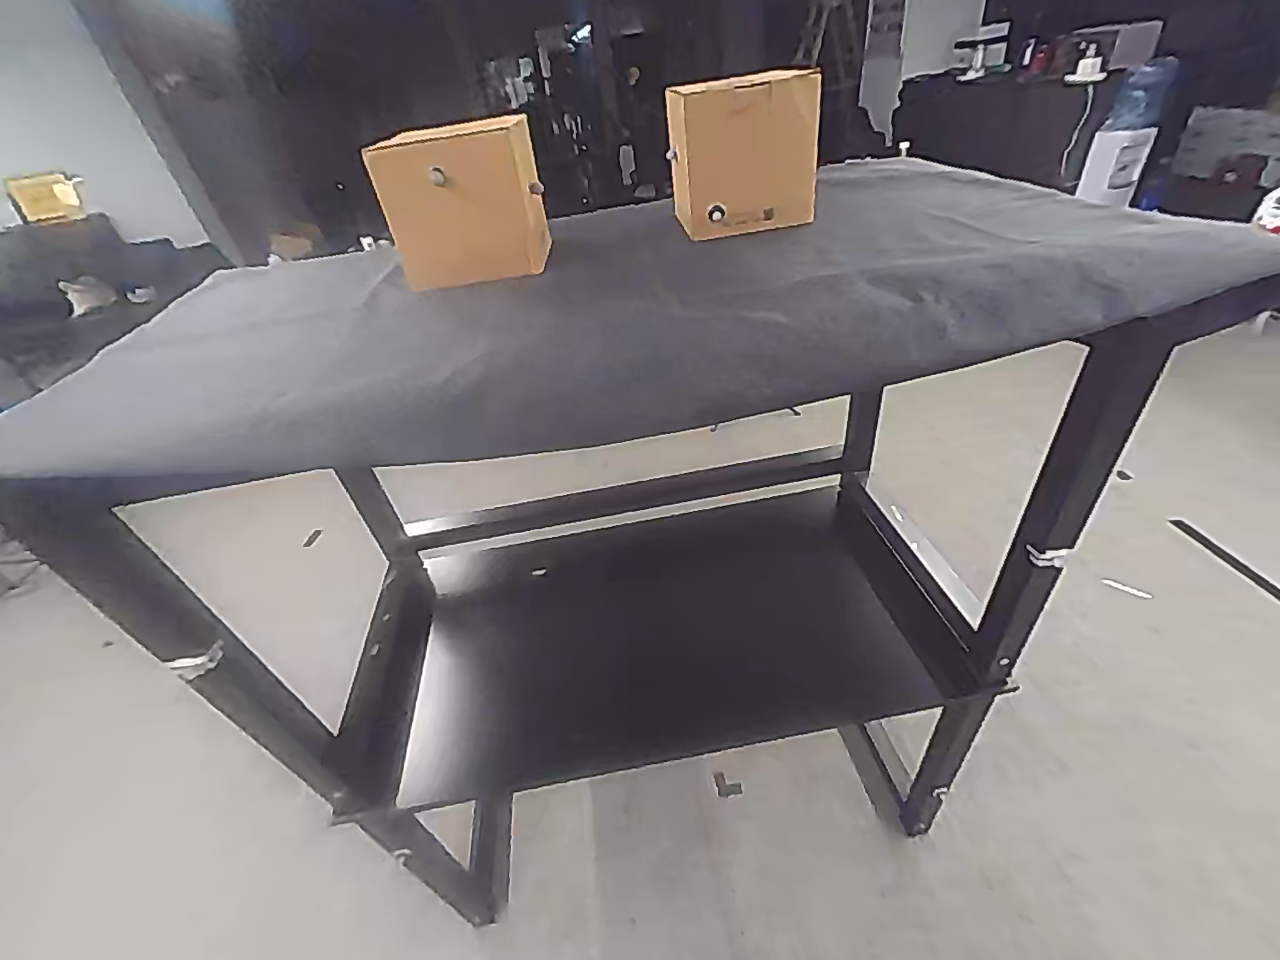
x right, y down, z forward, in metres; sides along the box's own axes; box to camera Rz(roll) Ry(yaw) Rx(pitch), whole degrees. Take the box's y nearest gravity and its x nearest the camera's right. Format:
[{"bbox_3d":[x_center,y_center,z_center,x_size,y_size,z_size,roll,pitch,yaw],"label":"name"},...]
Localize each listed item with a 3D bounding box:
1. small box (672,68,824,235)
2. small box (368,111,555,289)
[{"bbox_3d":[0.141,-0.448,0.744,0.168,0.176,0.179,-8,37,1],"label":"small box"},{"bbox_3d":[-0.217,-0.372,0.721,0.179,0.176,0.168,-7,38,3],"label":"small box"}]
